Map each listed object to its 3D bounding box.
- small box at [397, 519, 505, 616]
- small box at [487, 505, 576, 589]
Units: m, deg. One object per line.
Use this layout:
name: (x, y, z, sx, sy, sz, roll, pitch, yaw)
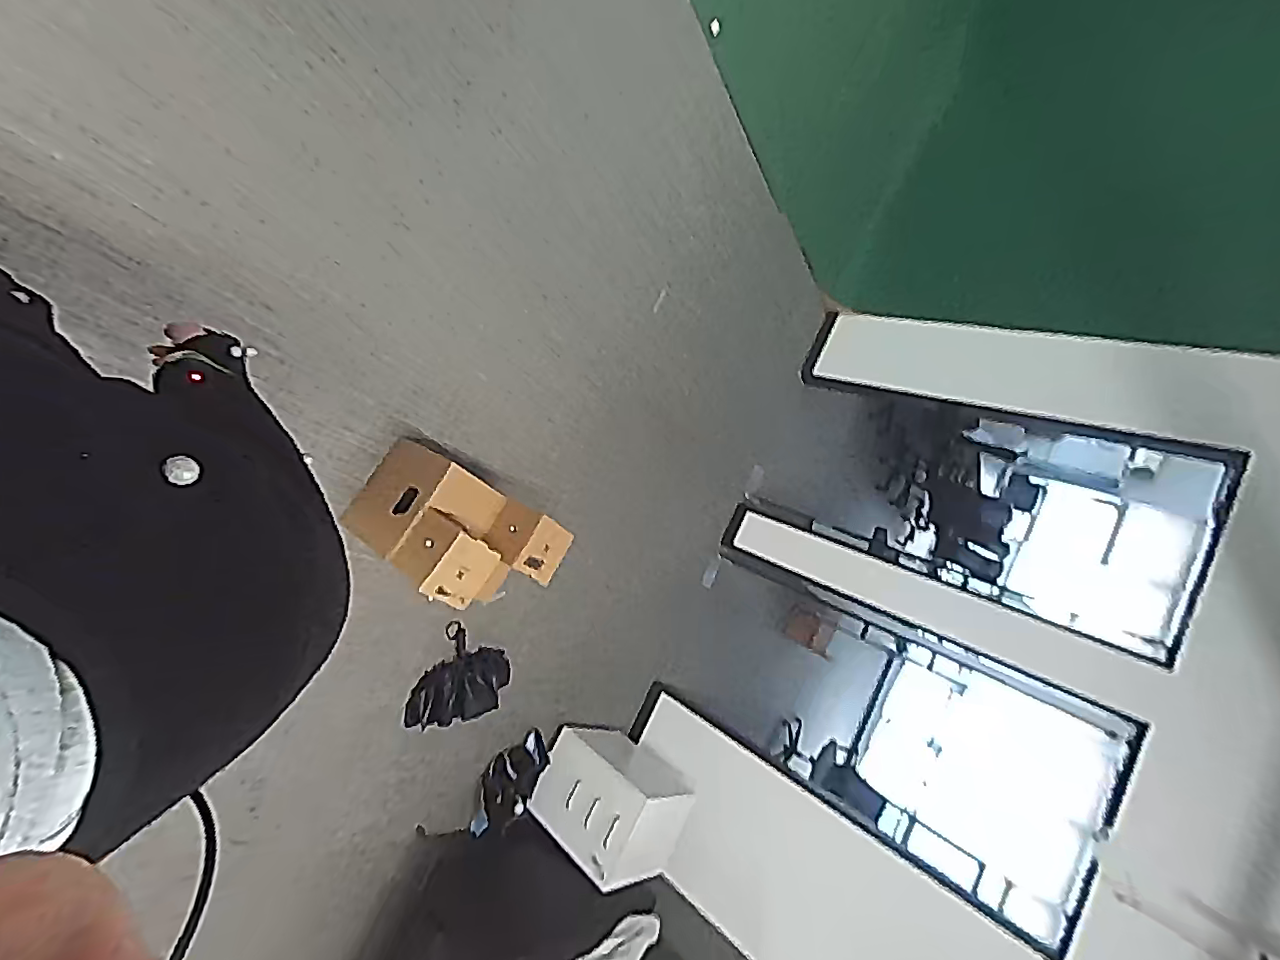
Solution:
small box: (-0.500, 0.226, 1.424, 0.179, 0.176, 0.168, -59, 142, -13)
small box: (-0.331, 0.198, 1.624, 0.179, 0.176, 0.168, -62, 143, -16)
